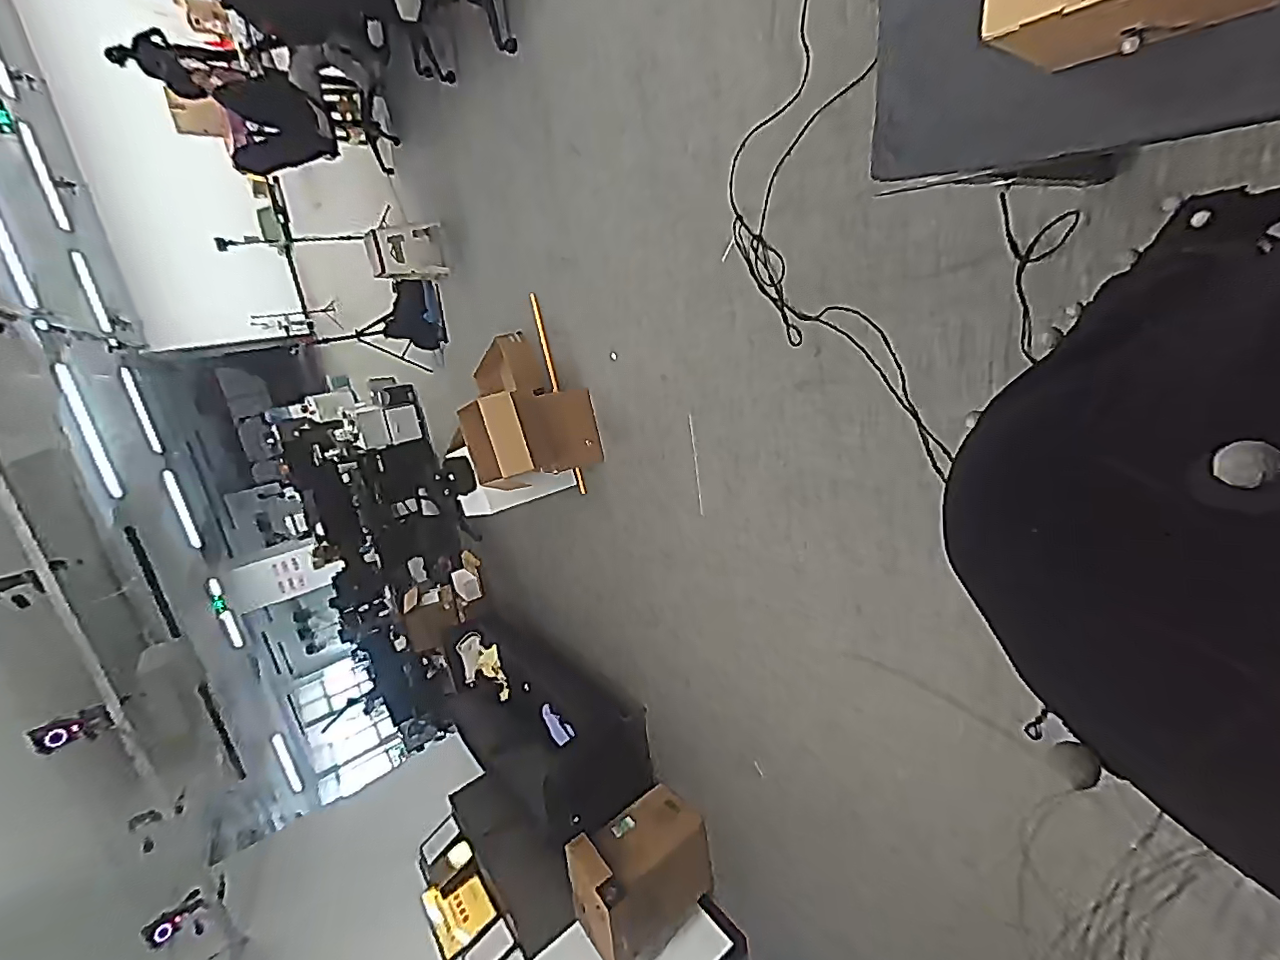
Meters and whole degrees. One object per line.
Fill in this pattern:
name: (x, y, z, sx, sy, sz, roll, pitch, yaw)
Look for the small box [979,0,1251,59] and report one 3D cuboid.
small box: (0.408, -0.481, 0.435, 0.168, 0.176, 0.179, 20, 122, 49)
